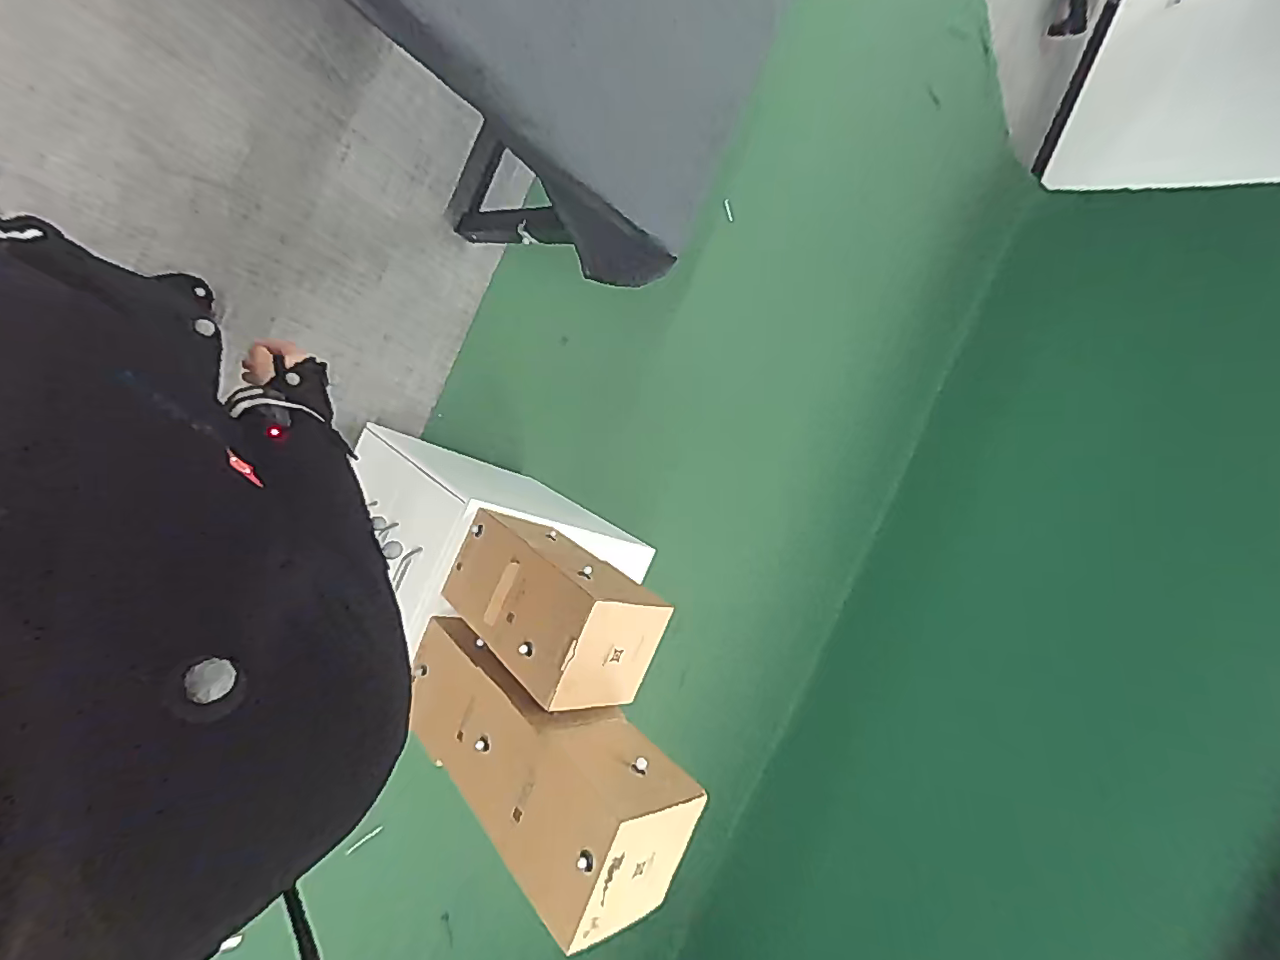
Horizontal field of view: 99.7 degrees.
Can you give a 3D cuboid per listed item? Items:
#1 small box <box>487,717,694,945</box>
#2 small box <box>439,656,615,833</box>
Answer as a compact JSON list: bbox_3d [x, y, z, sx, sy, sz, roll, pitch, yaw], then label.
[{"bbox_3d":[-0.065,0.436,0.714,0.179,0.176,0.168,21,92,-49],"label":"small box"},{"bbox_3d":[-0.176,0.385,0.822,0.179,0.176,0.168,17,96,-48],"label":"small box"}]
